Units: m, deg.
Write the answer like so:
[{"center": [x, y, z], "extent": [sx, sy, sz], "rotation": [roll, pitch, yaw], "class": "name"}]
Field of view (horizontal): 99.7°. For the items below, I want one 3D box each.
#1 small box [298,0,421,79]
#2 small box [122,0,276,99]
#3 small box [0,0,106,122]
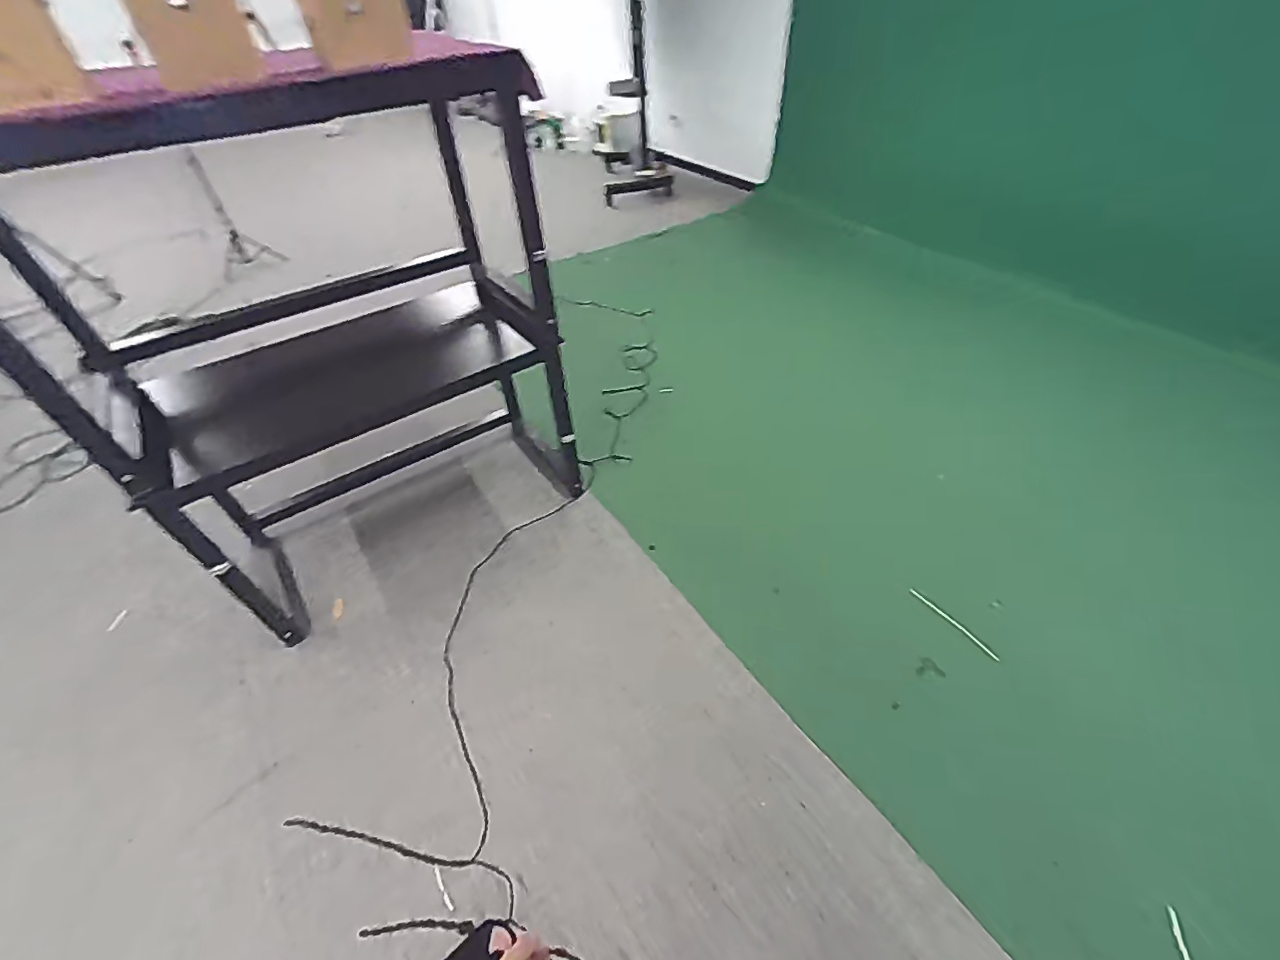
[{"center": [-0.590, -0.959, 1.128], "extent": [0.179, 0.176, 0.168], "rotation": [-29, 51, -23], "class": "small box"}, {"center": [-0.828, -0.834, 1.016], "extent": [0.179, 0.176, 0.168], "rotation": [-27, 49, -23], "class": "small box"}, {"center": [-1.049, -0.714, 0.905], "extent": [0.168, 0.176, 0.179], "rotation": [-29, 48, -24], "class": "small box"}]
